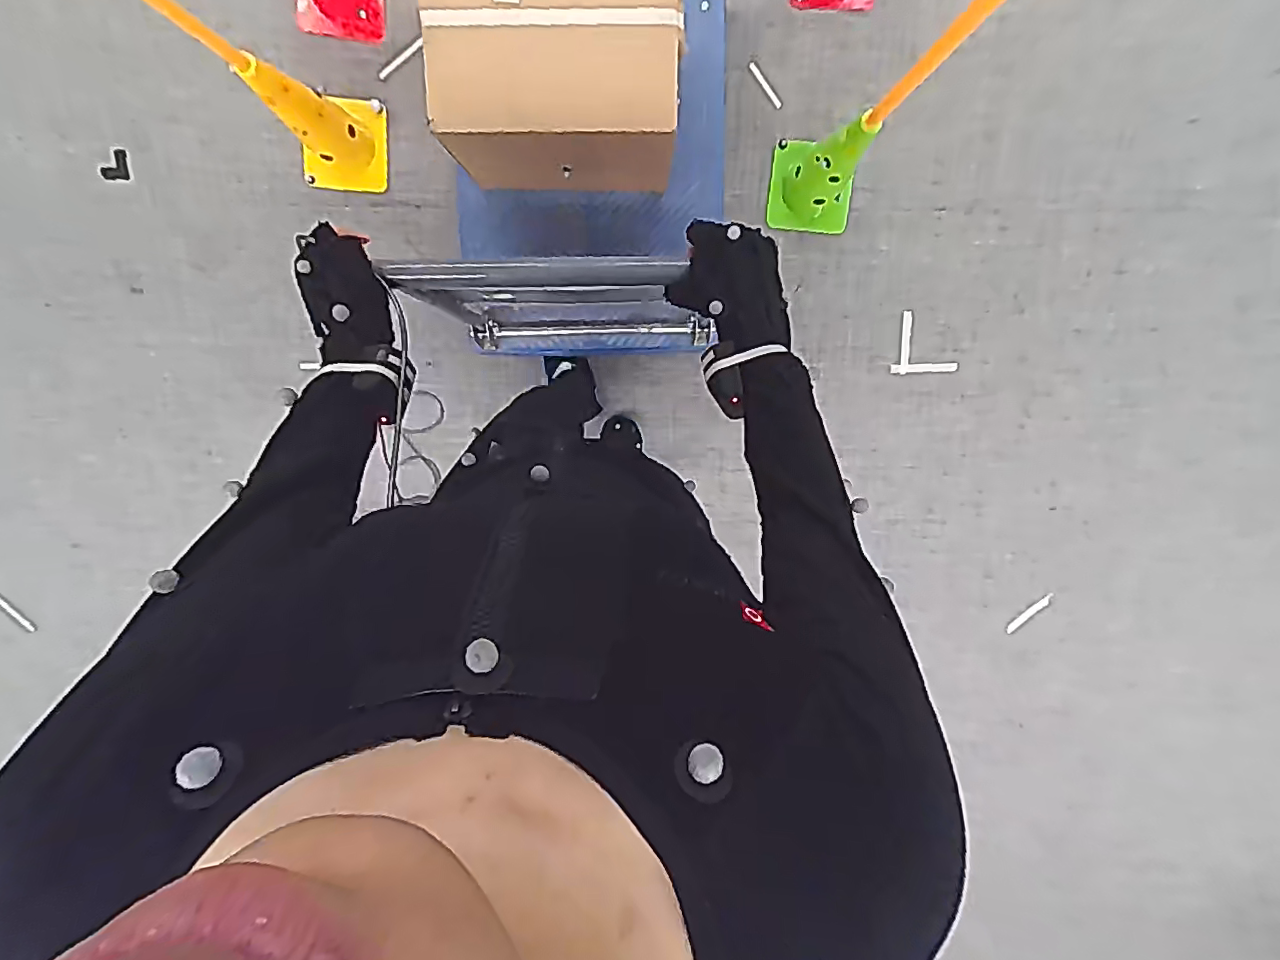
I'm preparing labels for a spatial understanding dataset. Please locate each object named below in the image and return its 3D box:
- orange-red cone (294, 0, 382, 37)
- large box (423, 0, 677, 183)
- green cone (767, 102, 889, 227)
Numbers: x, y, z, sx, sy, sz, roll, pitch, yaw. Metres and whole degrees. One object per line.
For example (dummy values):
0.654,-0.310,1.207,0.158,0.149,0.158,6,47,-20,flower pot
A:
-0.680,-1.103,1.063,0.198,0.360,0.199,8,100,-3,orange-red cone
-0.139,-0.757,0.991,0.408,0.320,0.320,0,102,1,large box
0.423,-0.697,1.155,0.202,0.368,0.200,4,102,-3,green cone
